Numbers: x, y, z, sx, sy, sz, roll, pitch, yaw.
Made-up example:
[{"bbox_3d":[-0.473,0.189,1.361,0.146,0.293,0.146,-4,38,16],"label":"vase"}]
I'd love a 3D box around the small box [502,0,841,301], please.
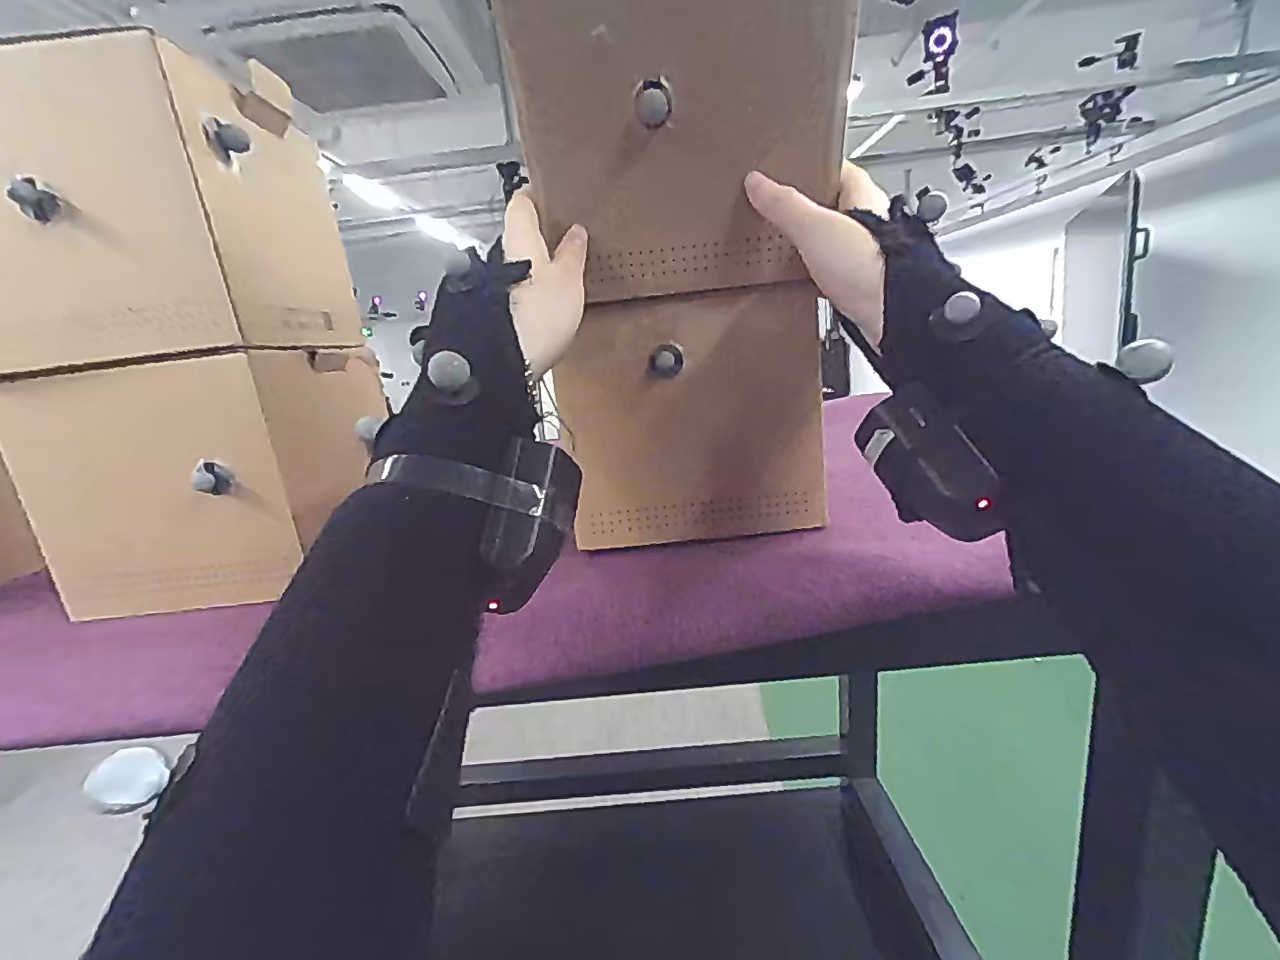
[{"bbox_3d":[0.026,-0.230,0.366,0.179,0.176,0.168,-6,35,3],"label":"small box"}]

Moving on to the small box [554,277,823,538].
[{"bbox_3d":[0.040,-0.055,0.446,0.179,0.176,0.168,-5,11,3],"label":"small box"}]

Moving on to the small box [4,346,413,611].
[{"bbox_3d":[-0.307,-0.012,0.433,0.179,0.176,0.168,-7,13,1],"label":"small box"}]
